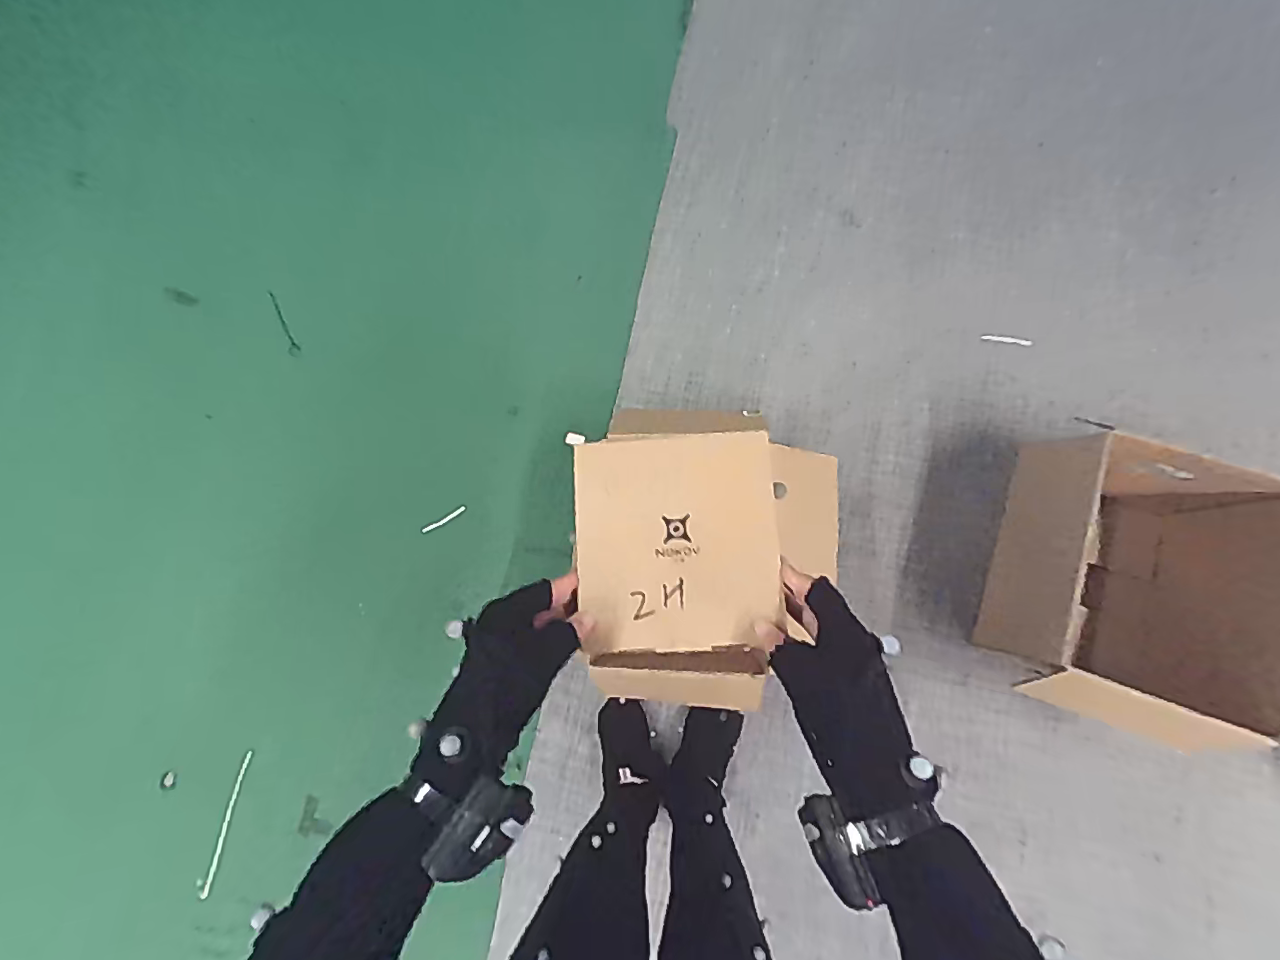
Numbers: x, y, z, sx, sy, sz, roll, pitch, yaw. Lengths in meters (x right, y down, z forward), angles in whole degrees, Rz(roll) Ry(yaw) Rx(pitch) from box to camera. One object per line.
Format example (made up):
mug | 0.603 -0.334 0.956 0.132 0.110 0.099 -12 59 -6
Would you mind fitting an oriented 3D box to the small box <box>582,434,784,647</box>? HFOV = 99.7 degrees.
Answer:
small box | 0.037 0.064 0.531 0.168 0.176 0.179 -3 79 4
